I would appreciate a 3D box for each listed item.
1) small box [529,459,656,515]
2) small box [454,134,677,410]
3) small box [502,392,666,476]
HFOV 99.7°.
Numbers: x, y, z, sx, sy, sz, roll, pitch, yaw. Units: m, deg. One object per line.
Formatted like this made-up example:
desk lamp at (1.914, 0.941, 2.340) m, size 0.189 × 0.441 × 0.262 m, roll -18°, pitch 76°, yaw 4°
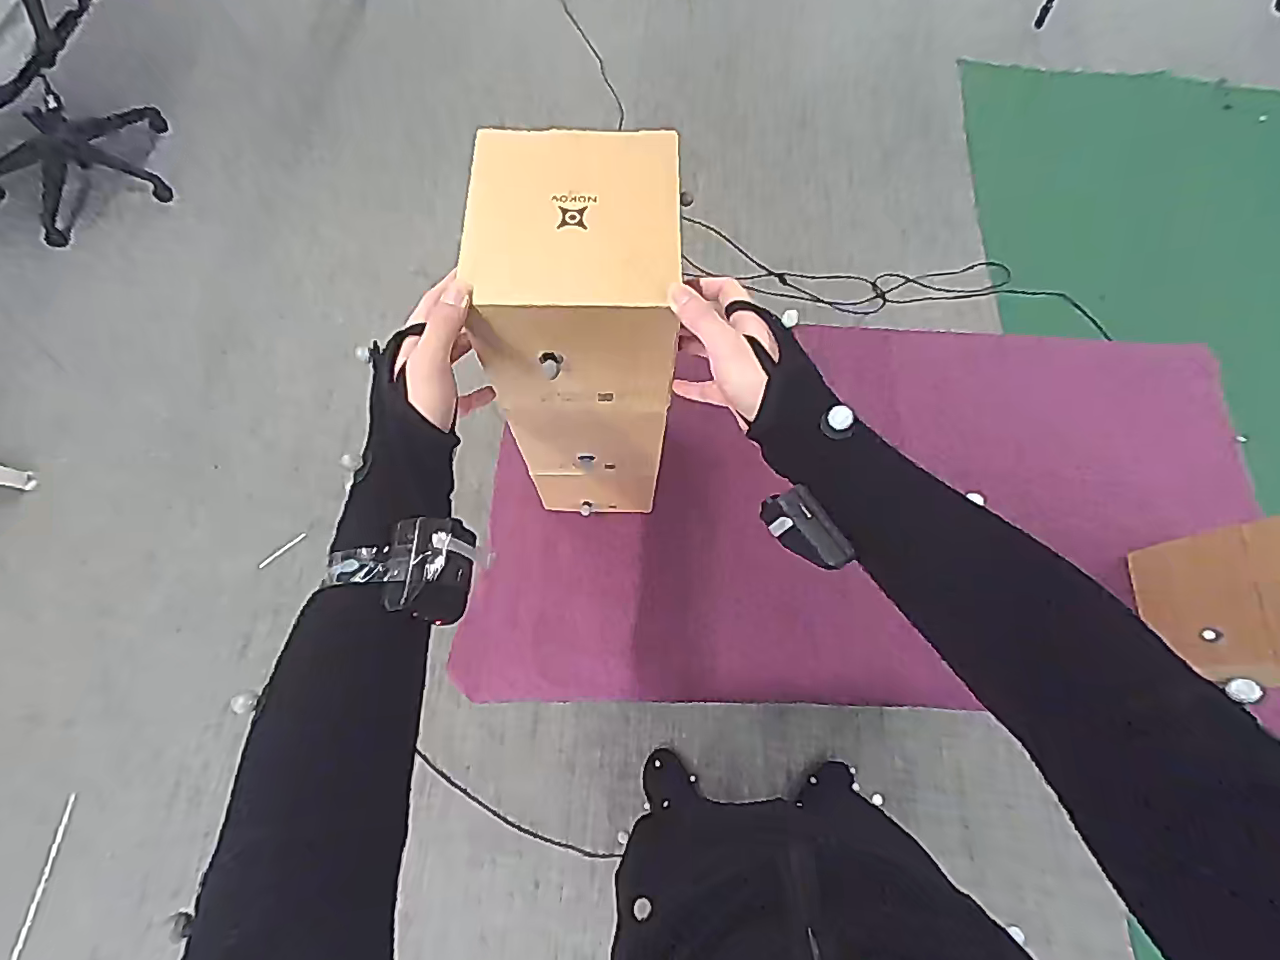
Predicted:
small box at (-0.062, -0.058, 0.792) m, size 0.168 × 0.176 × 0.179 m, roll 1°, pitch 70°, yaw -1°
small box at (-0.053, -0.173, 0.489) m, size 0.168 × 0.176 × 0.179 m, roll 0°, pitch 70°, yaw -1°
small box at (-0.057, -0.117, 0.640) m, size 0.168 × 0.176 × 0.179 m, roll 1°, pitch 70°, yaw -1°
